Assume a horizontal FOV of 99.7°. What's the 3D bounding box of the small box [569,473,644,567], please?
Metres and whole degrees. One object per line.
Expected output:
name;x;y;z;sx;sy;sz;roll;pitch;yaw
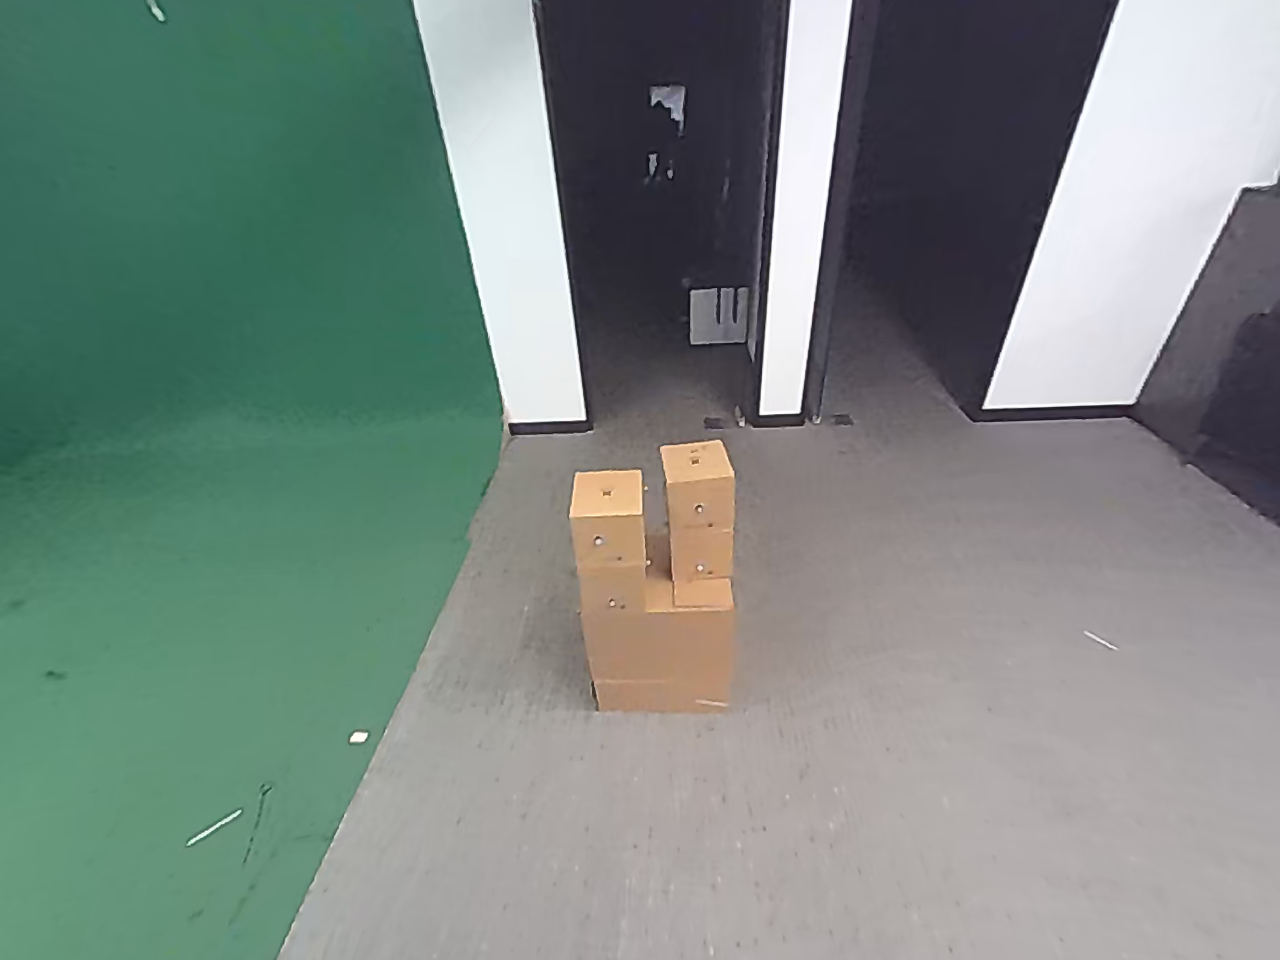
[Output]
small box;-0.075;0.102;1.329;0.168;0.176;0.179;-2;37;1

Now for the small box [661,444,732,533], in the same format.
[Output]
small box;0.147;0.026;1.412;0.168;0.176;0.179;-5;34;0
